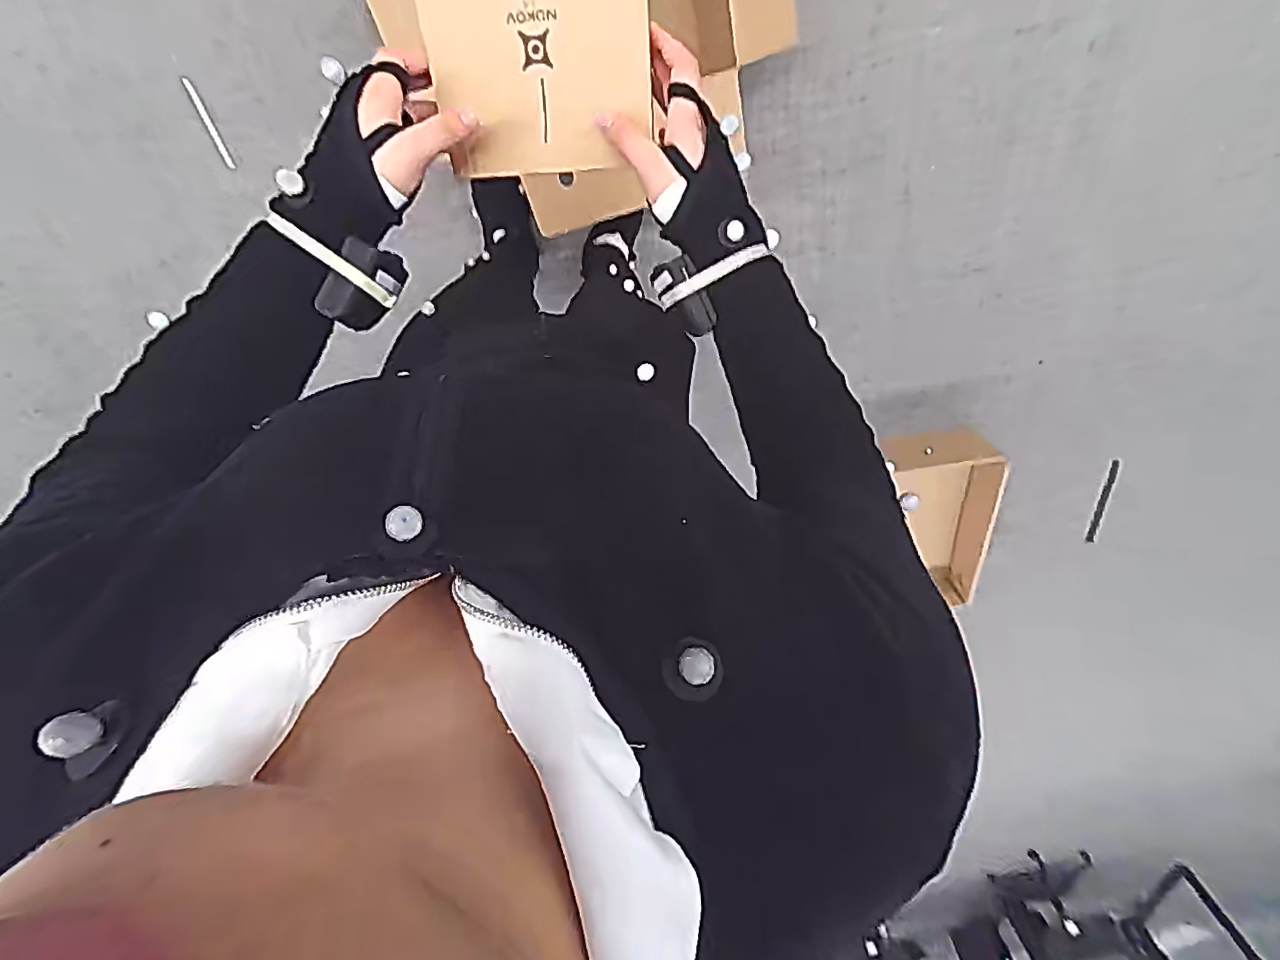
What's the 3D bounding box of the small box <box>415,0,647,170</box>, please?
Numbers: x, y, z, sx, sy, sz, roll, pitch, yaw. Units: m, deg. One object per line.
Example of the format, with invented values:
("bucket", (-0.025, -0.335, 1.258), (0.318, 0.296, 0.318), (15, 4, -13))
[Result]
("small box", (-0.079, -0.371, 0.462), (0.168, 0.176, 0.179), (-2, 123, 2))
